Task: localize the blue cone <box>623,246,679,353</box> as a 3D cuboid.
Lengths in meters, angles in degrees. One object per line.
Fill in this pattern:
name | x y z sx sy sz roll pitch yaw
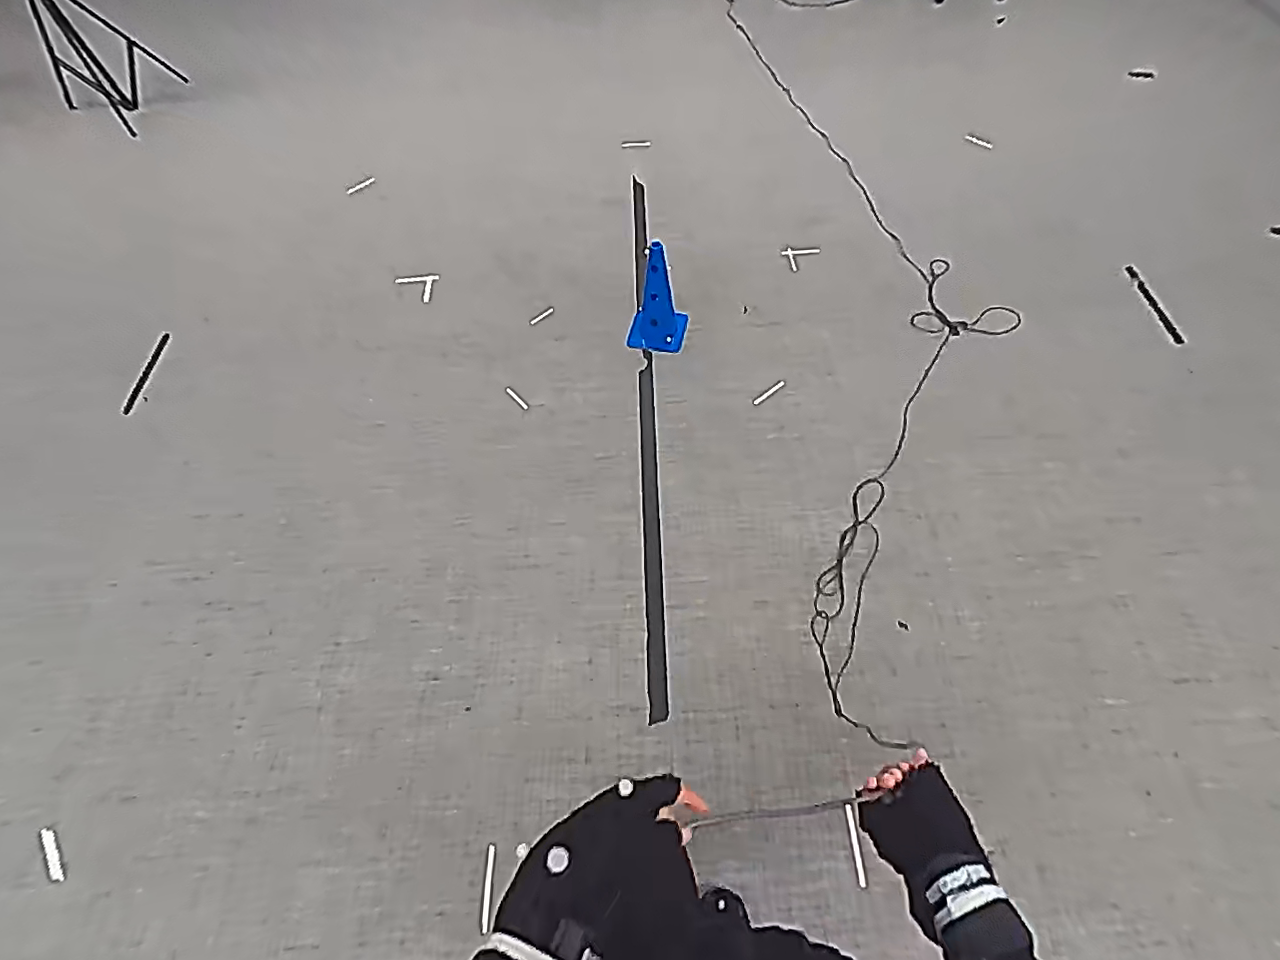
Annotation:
blue cone | 0.034 -0.628 1.858 0.192 0.380 0.193 11 60 10
